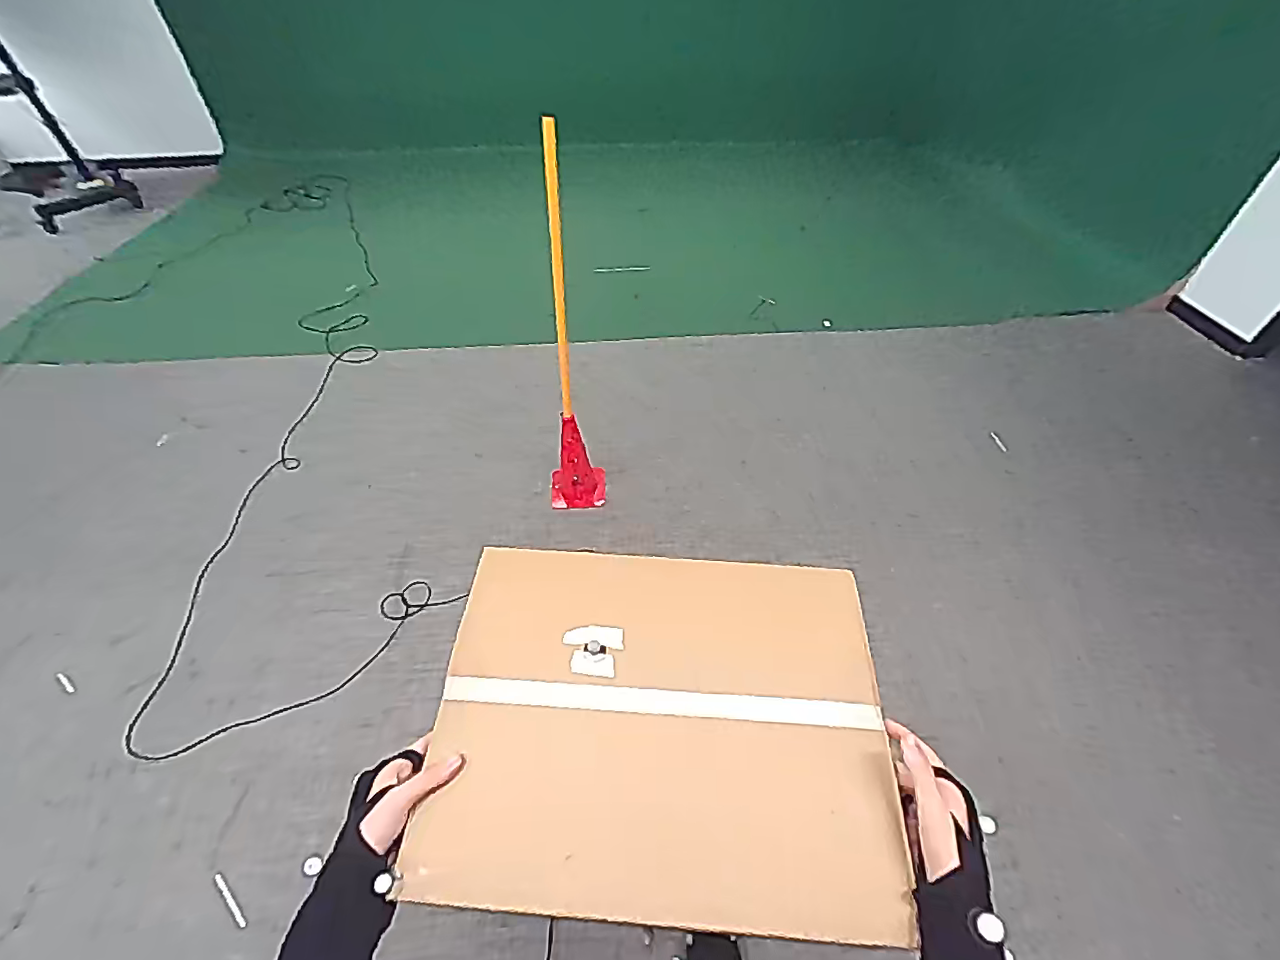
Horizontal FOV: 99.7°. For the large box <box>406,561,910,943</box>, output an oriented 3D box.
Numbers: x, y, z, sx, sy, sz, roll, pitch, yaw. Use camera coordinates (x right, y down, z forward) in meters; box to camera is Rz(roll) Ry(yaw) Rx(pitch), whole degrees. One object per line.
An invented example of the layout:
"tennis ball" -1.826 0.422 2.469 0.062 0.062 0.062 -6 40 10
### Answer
"large box" 0.024 0.310 0.628 0.408 0.320 0.320 3 51 4
